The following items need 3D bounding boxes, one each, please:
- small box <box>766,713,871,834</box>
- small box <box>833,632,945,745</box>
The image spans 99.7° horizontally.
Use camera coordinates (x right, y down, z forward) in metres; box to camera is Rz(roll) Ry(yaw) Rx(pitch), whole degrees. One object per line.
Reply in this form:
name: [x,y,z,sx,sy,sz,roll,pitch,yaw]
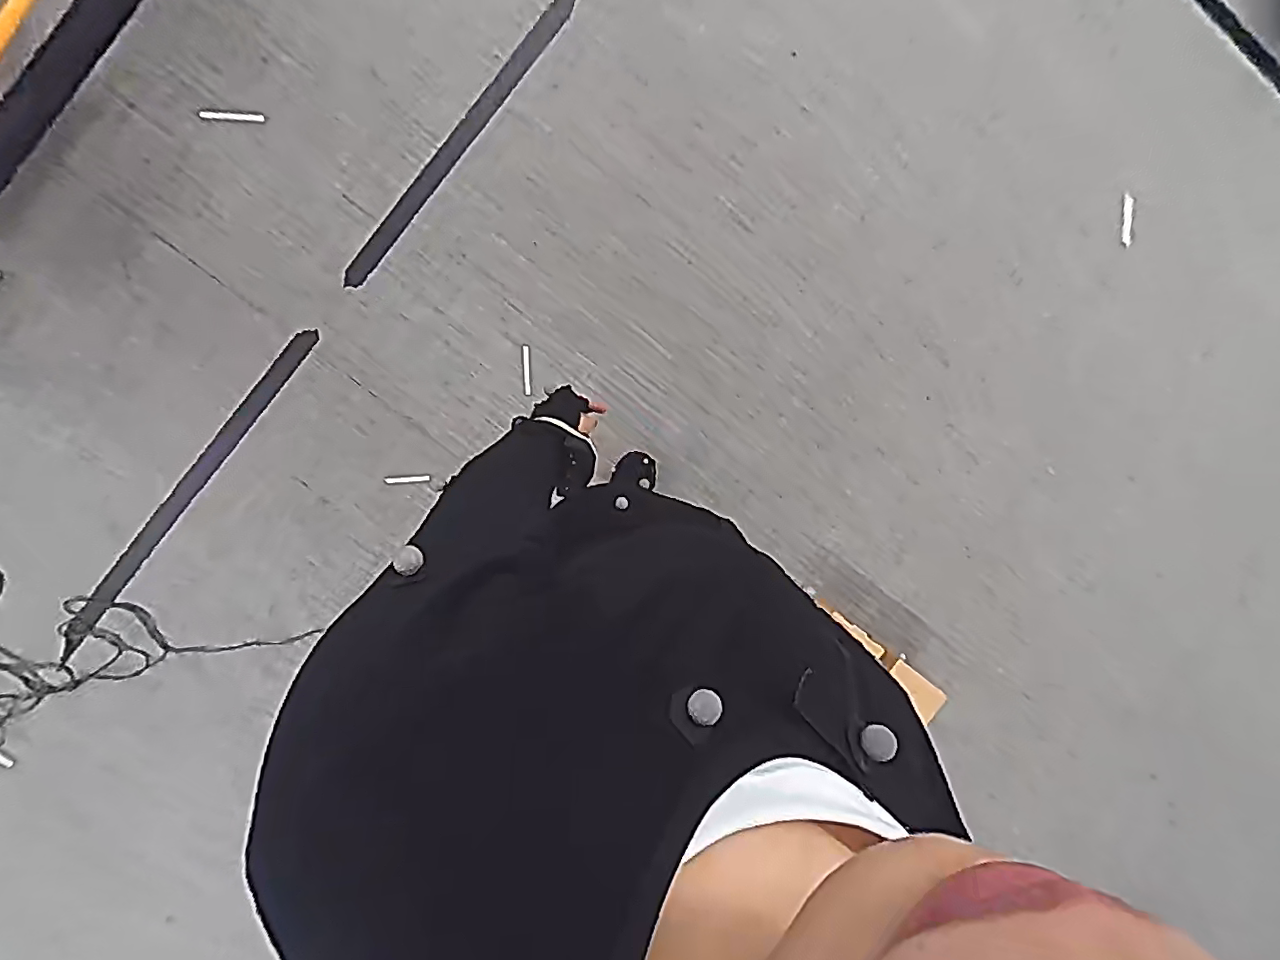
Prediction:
small box: [0.449,0.751,1.401,0.168,0.176,0.179,39,91,-6]
small box: [0.626,0.529,1.391,0.168,0.176,0.179,38,91,-6]
